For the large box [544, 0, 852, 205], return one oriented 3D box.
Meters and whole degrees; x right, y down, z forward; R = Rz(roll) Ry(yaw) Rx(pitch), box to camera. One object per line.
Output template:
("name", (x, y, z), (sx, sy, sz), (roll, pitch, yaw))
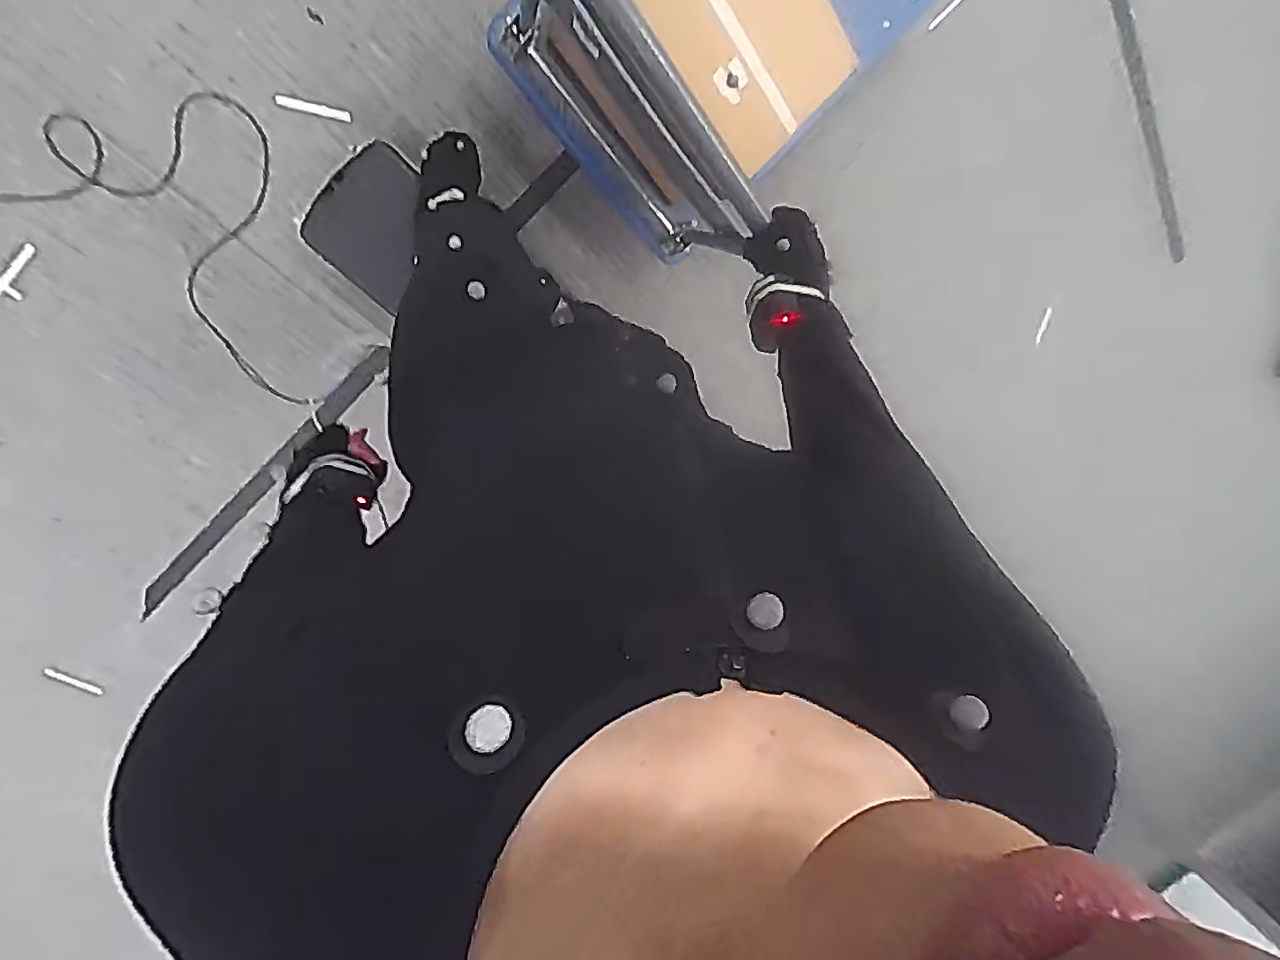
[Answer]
("large box", (0.088, -0.775, 0.981), (0.320, 0.320, 0.408), (-44, 120, 7))
